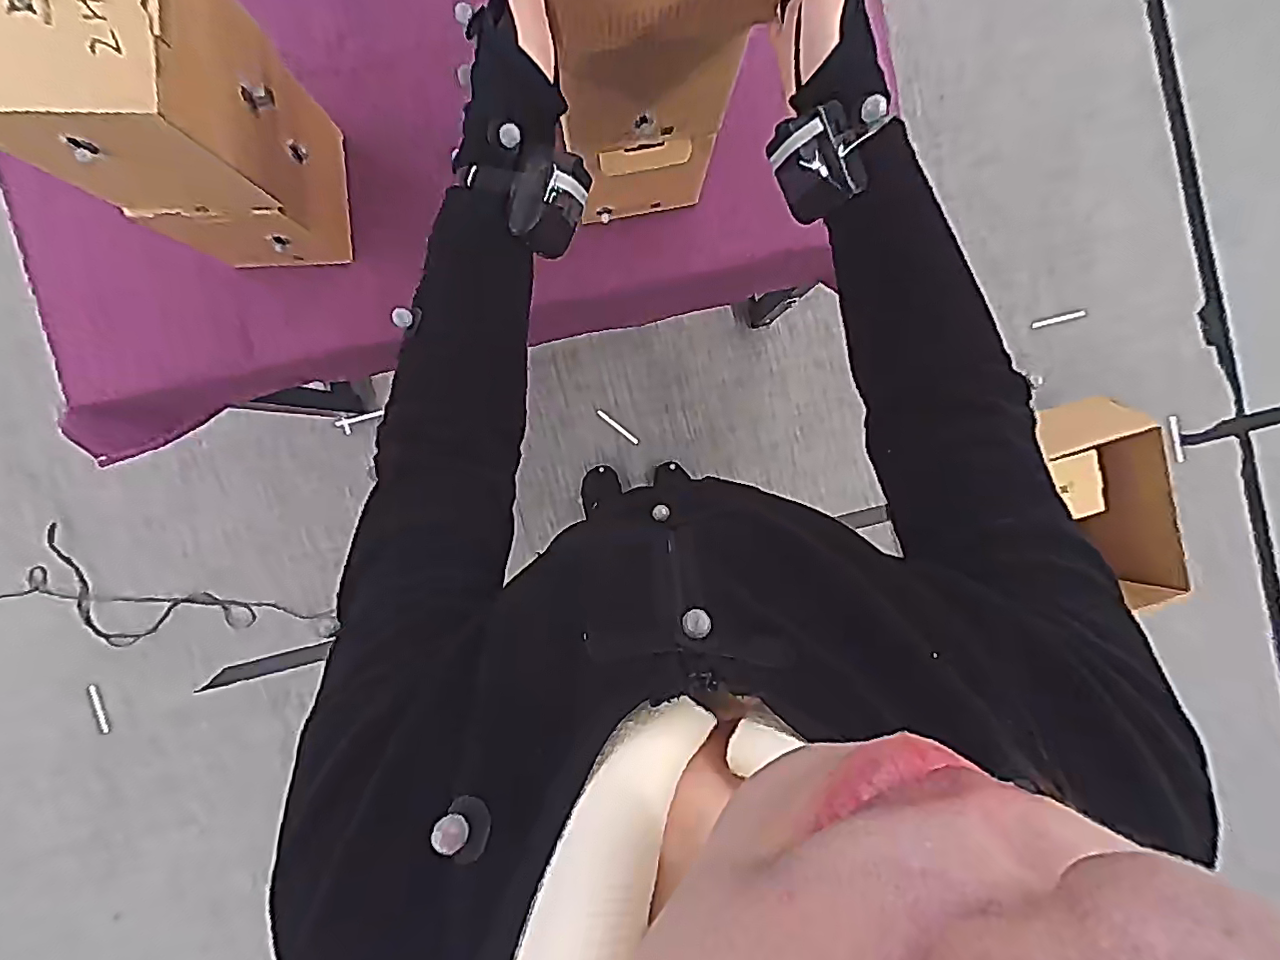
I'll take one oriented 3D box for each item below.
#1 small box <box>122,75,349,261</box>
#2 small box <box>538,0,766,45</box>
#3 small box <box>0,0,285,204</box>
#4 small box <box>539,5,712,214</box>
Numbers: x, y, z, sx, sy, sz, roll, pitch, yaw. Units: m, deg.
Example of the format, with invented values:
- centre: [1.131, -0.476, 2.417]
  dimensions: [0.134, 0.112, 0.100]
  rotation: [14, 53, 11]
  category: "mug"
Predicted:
- centre: [-0.475, -0.375, 0.652]
  dimensions: [0.168, 0.176, 0.179]
  rotation: [-3, 93, -3]
  category: "small box"
- centre: [0.004, -0.411, 0.328]
  dimensions: [0.179, 0.176, 0.168]
  rotation: [-9, 96, 0]
  category: "small box"
- centre: [-0.463, -0.367, 0.489]
  dimensions: [0.179, 0.176, 0.168]
  rotation: [-2, 95, -3]
  category: "small box"
- centre: [-0.016, -0.449, 0.662]
  dimensions: [0.168, 0.176, 0.179]
  rotation: [-11, 93, -1]
  category: "small box"
